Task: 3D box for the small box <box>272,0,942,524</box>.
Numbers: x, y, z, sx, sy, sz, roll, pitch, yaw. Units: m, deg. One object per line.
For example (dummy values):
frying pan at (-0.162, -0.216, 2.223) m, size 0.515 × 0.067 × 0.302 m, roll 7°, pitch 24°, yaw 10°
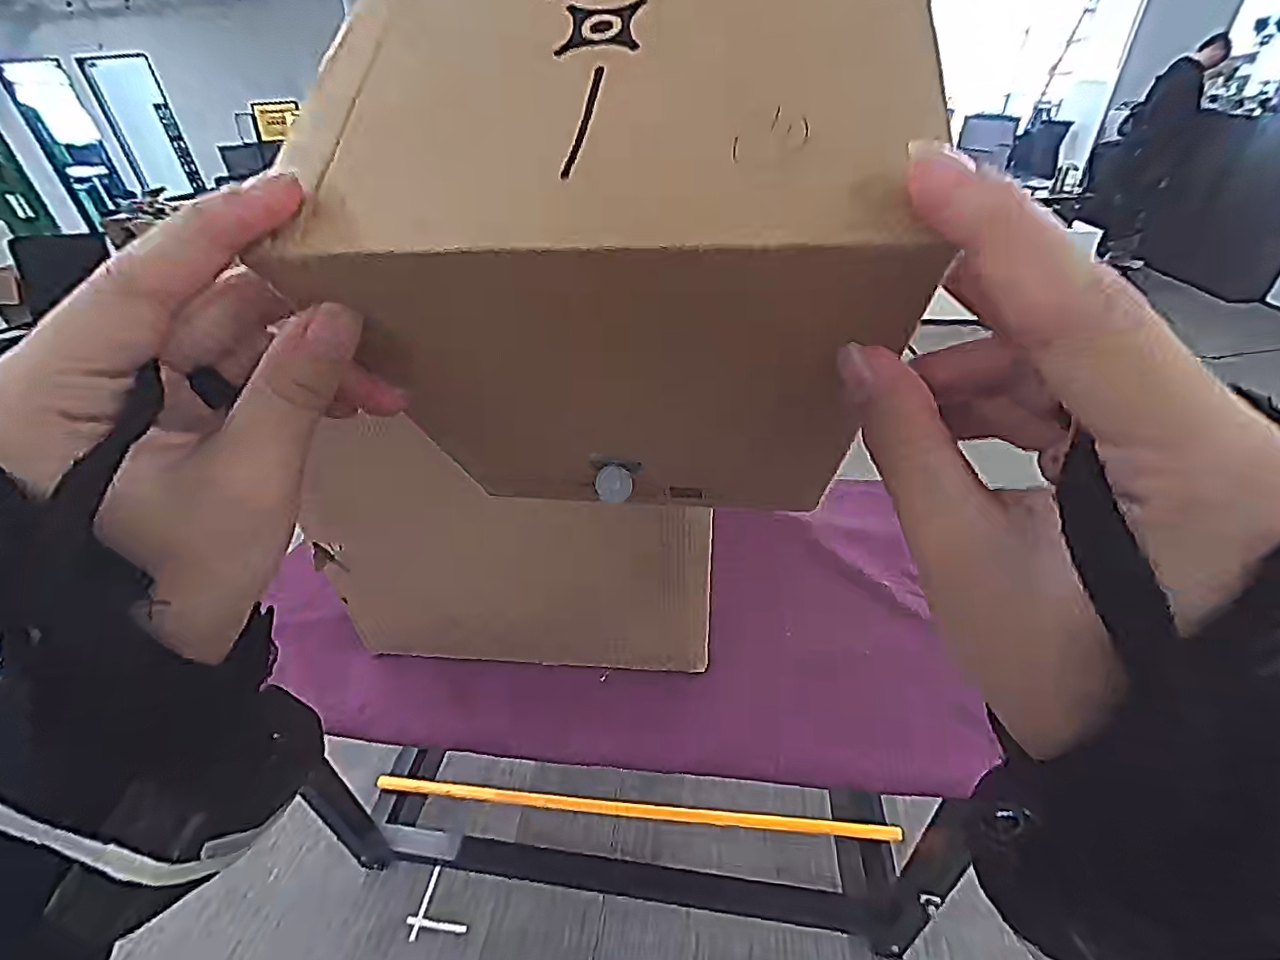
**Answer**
small box at (0.002, -0.094, 0.232) m, size 0.168 × 0.176 × 0.179 m, roll 2°, pitch 68°, yaw 9°
